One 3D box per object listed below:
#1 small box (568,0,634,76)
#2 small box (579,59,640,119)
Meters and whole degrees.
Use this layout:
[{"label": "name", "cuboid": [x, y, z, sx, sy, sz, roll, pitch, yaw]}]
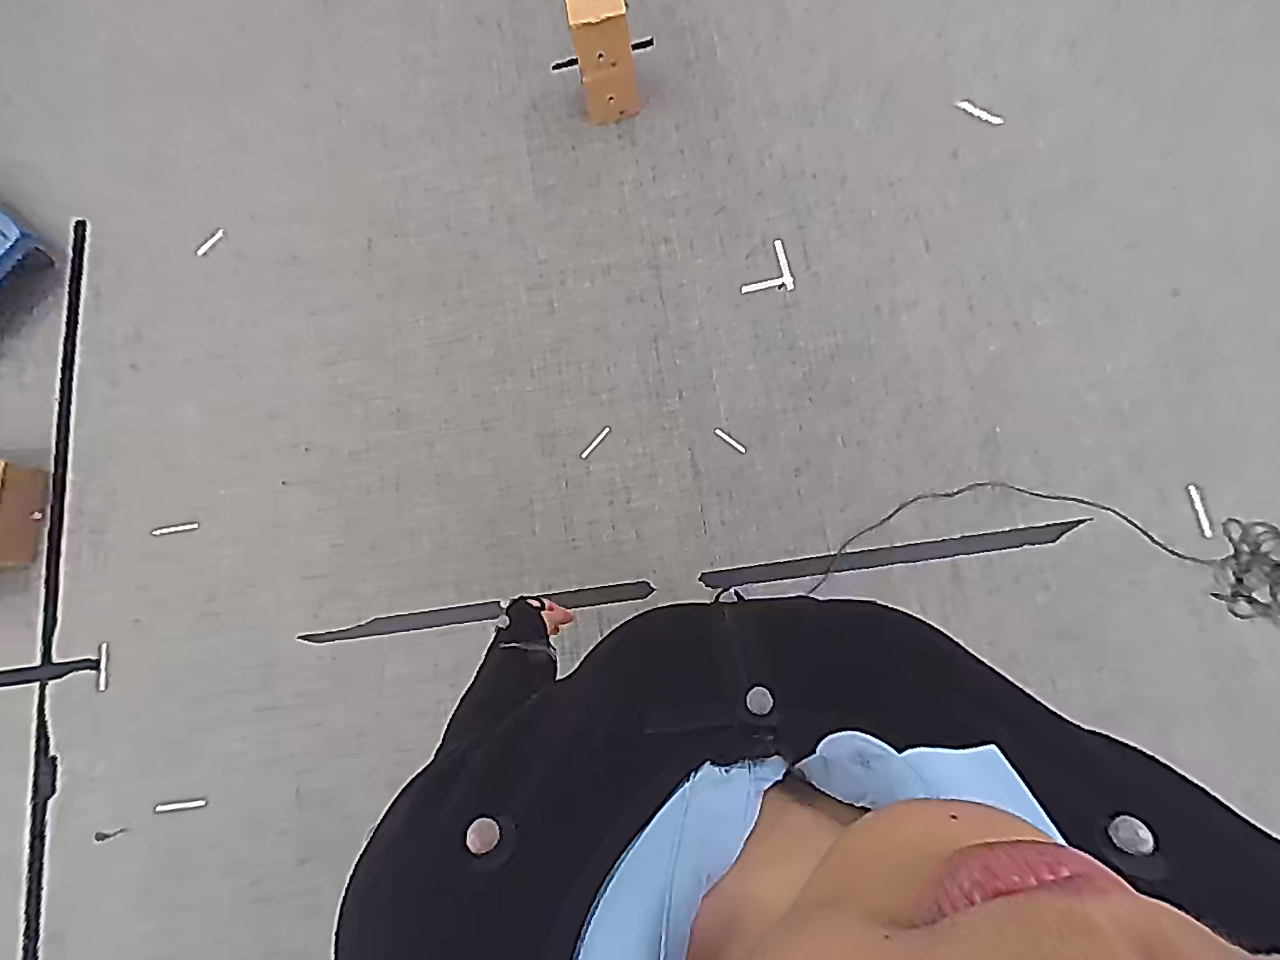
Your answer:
[{"label": "small box", "cuboid": [-0.117, -1.359, 1.606, 0.168, 0.176, 0.179, -10, 79, 5]}, {"label": "small box", "cuboid": [-0.101, -1.318, 1.763, 0.168, 0.176, 0.179, -12, 77, 4]}]
